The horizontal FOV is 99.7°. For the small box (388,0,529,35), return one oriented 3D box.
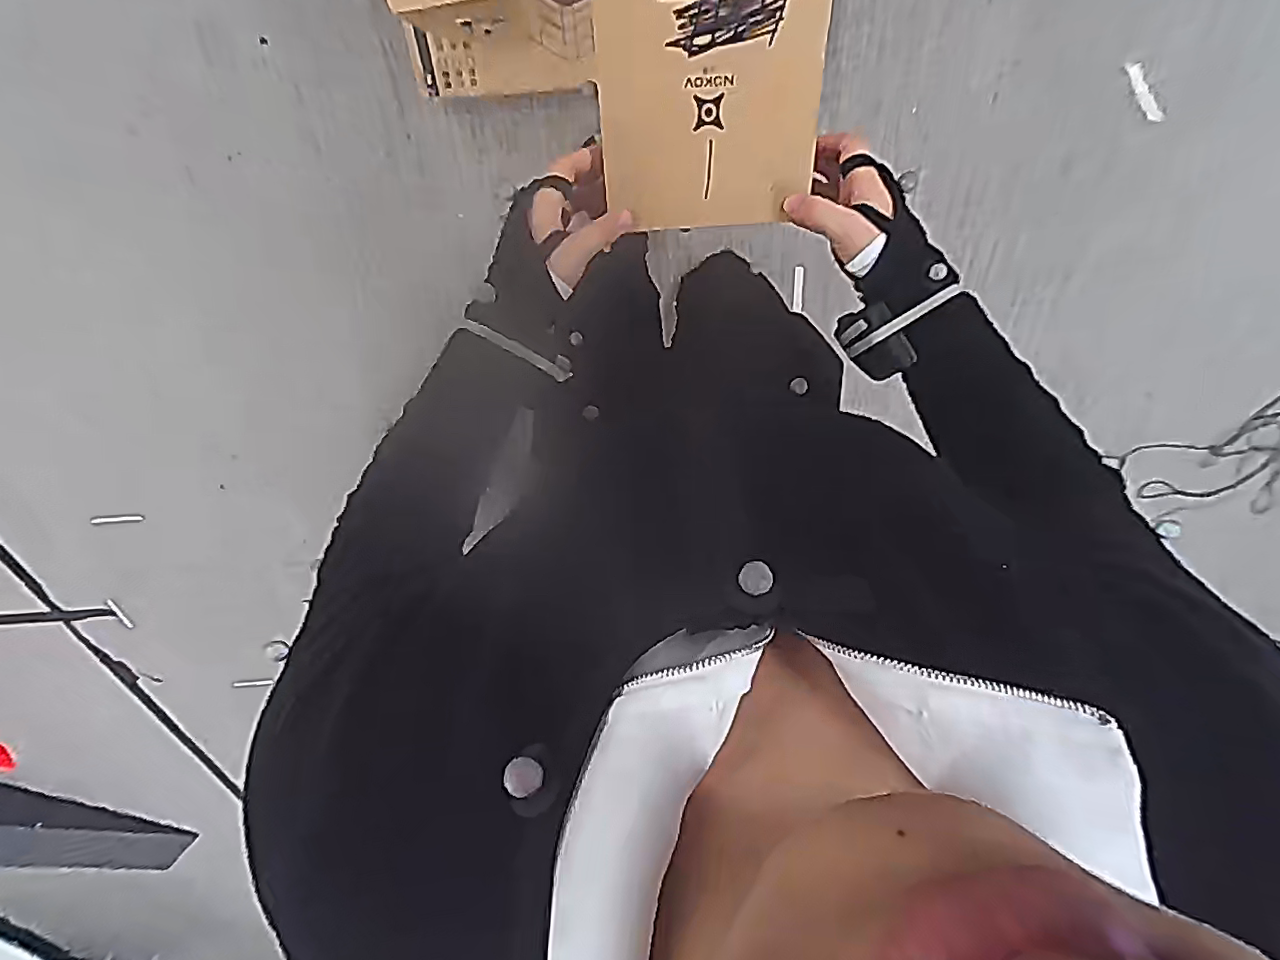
[{"bbox_3d":[-0.254,-0.723,0.713,0.168,0.176,0.179,-9,124,3],"label":"small box"}]

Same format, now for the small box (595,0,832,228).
[{"bbox_3d":[0.049,-0.326,0.466,0.168,0.176,0.179,-4,122,-1],"label":"small box"}]

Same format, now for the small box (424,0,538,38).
[{"bbox_3d":[-0.259,-0.813,0.849,0.168,0.176,0.179,-4,124,-2],"label":"small box"}]
